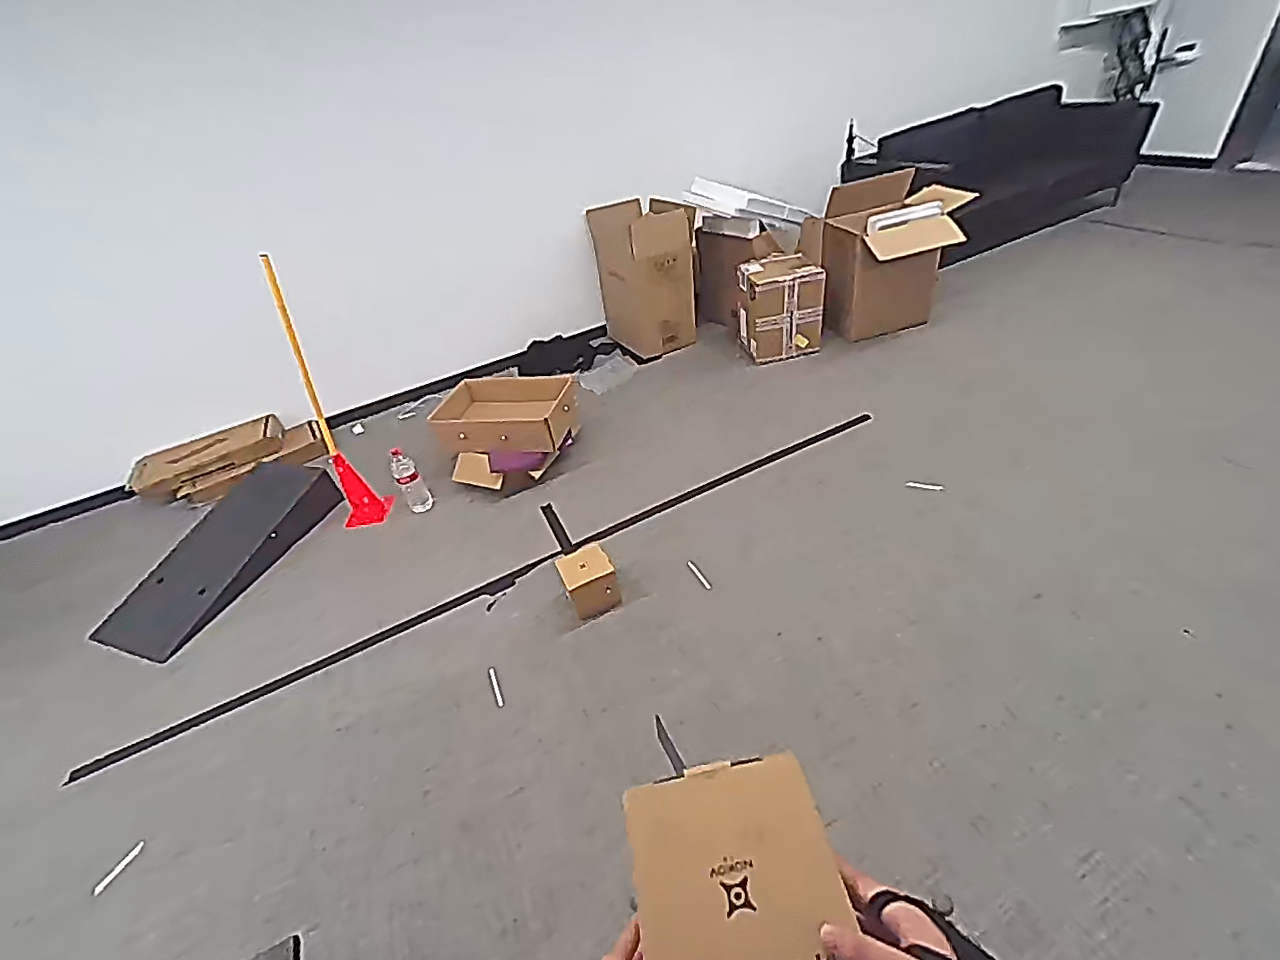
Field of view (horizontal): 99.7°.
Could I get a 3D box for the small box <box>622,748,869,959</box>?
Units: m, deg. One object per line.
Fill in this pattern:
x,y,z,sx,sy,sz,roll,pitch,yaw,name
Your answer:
0.086,0.378,0.486,0.168,0.176,0.179,-13,41,-1,small box

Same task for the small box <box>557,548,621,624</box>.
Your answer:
-0.179,0.386,1.963,0.179,0.176,0.168,-24,38,-15,small box
